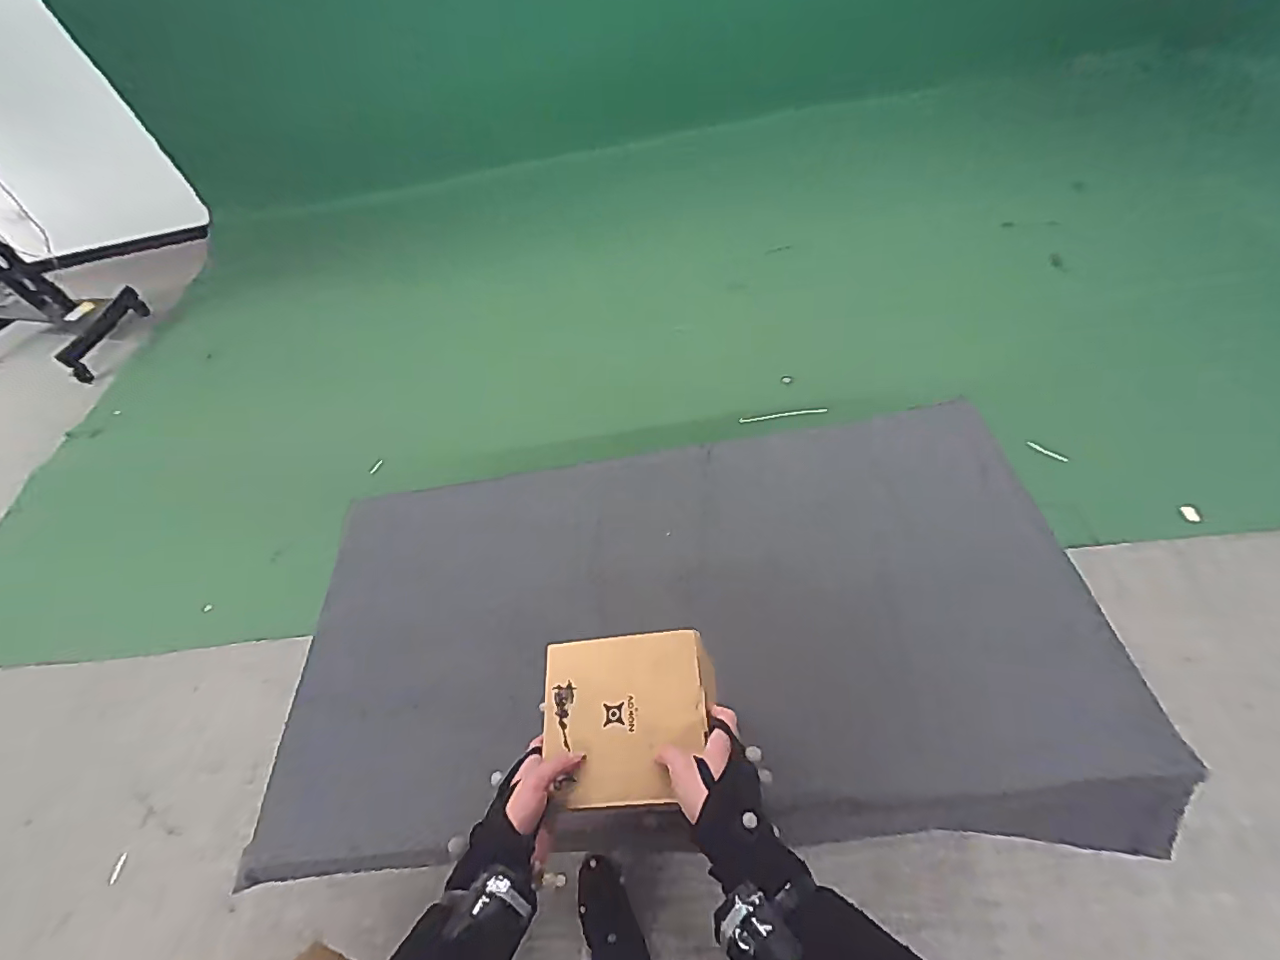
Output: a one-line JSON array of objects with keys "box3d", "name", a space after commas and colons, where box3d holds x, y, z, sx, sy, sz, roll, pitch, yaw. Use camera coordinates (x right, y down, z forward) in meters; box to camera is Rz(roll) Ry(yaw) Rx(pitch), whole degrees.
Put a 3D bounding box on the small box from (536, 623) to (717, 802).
[{"box3d": [-0.006, 0.277, 0.630, 0.179, 0.176, 0.168, -8, 57, 9], "name": "small box"}]
